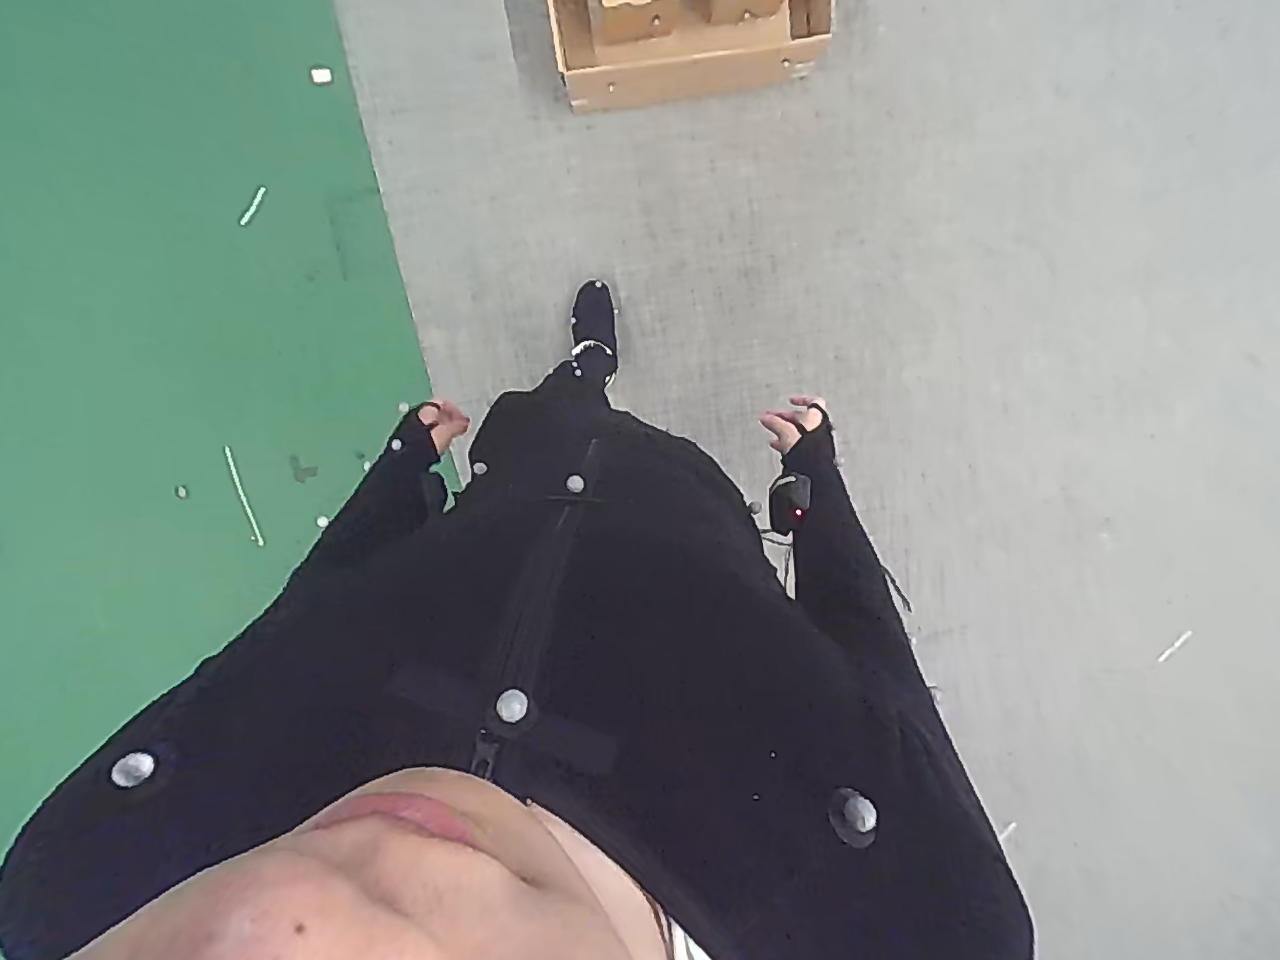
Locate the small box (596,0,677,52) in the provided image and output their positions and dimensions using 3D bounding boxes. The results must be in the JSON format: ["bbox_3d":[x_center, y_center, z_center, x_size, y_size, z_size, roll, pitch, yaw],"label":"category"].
[{"bbox_3d":[-0.016,-1.092,1.203,0.168,0.176,0.179,-10,104,0],"label":"small box"}]
